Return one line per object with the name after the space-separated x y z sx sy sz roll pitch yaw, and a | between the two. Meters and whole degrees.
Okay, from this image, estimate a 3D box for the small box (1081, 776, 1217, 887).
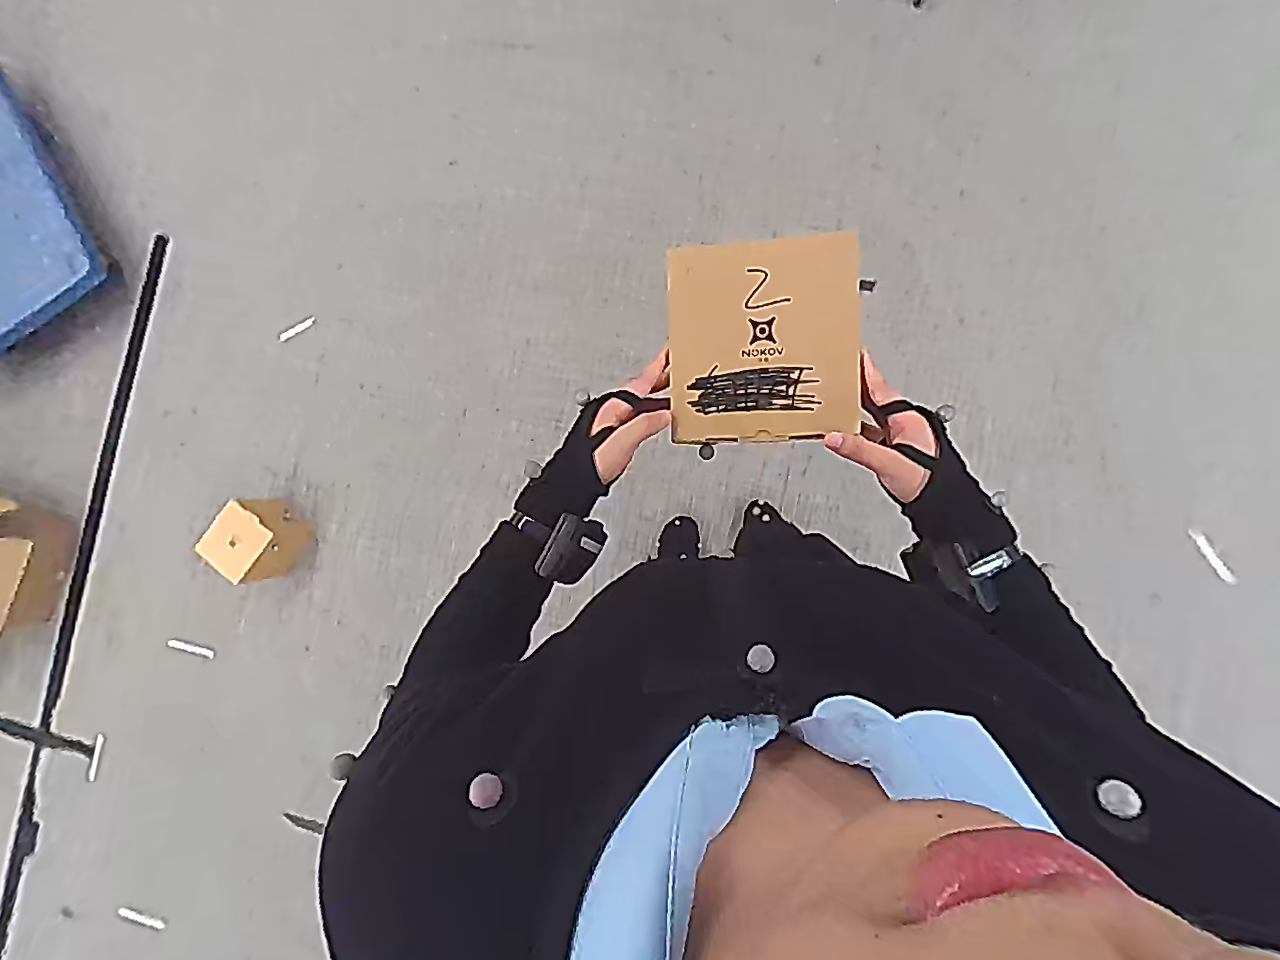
1.193 0.826 1.286 0.179 0.176 0.168 -4 86 5 | small box

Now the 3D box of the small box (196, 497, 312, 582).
-1.087 0.165 1.539 0.168 0.176 0.179 37 91 6 | small box
